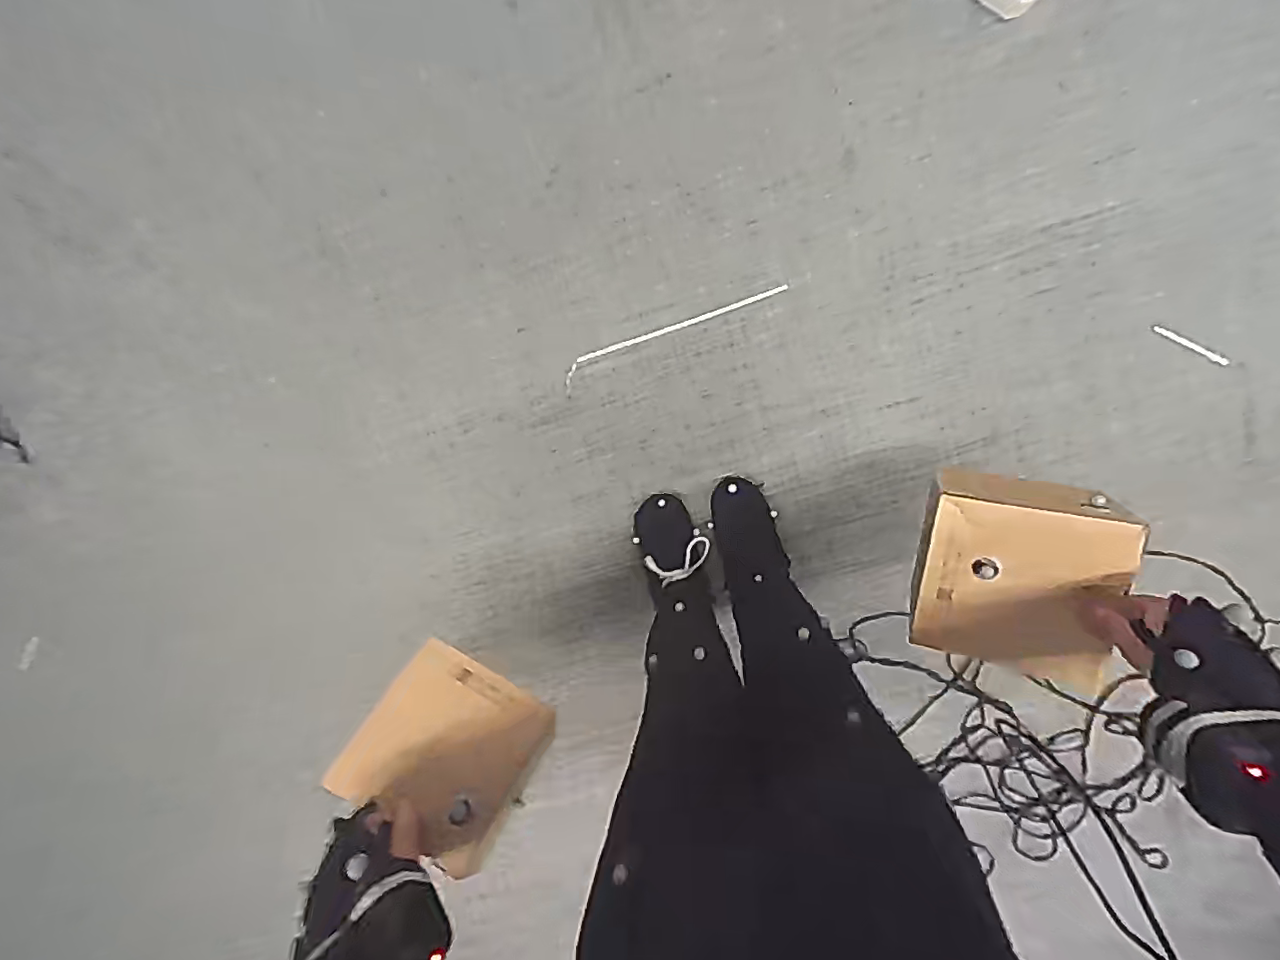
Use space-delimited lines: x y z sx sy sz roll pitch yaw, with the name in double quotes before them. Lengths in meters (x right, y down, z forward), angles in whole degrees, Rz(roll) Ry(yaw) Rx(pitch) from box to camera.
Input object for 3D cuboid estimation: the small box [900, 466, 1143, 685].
"small box" 0.393 0.086 0.596 0.176 0.179 0.168 11 106 24
